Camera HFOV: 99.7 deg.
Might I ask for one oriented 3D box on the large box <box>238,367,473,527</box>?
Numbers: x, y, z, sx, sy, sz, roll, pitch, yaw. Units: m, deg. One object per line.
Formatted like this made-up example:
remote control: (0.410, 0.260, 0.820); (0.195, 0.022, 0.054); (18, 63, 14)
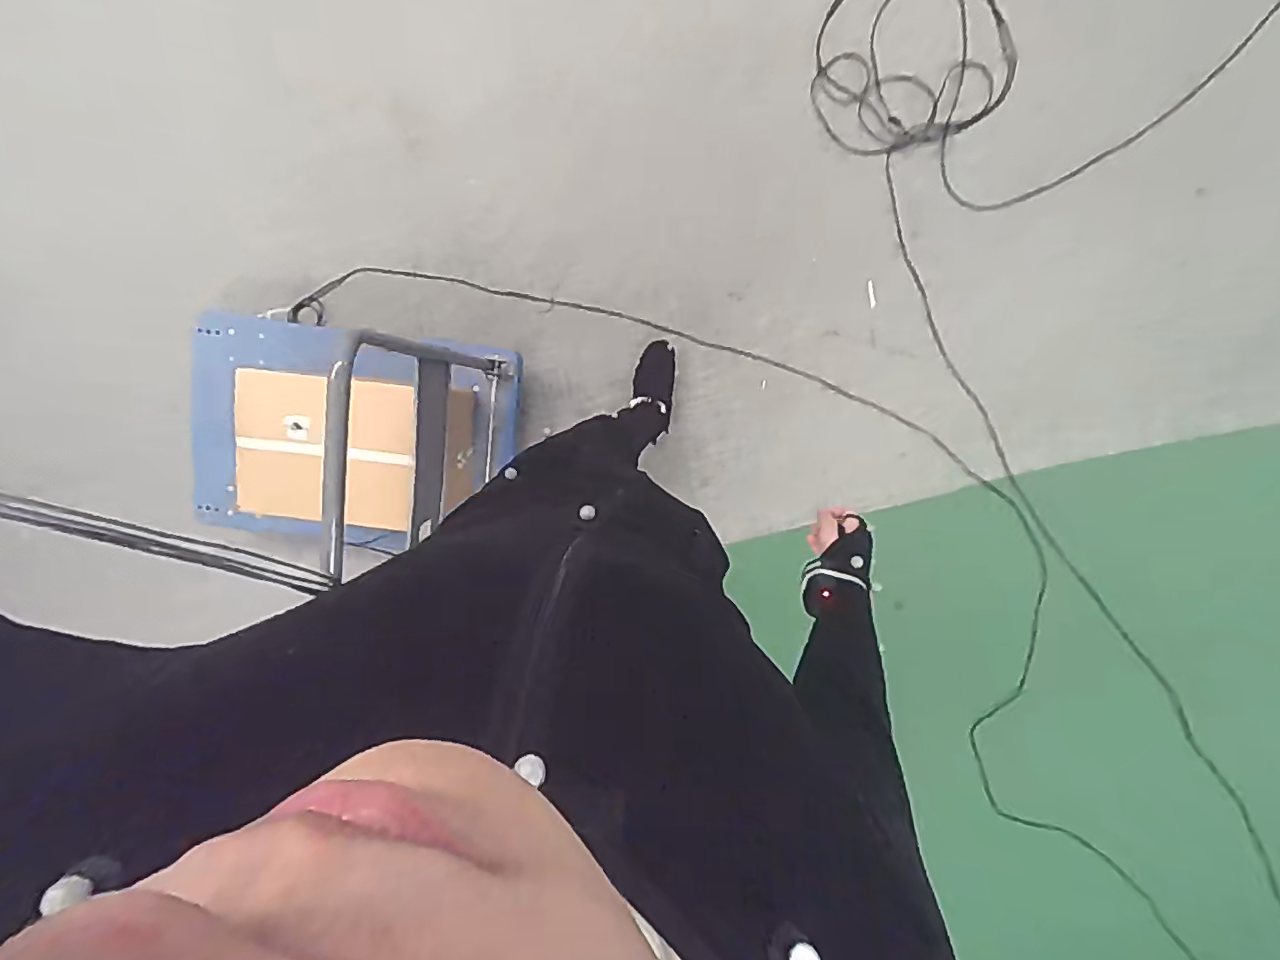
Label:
large box: (-0.647, -0.092, 1.292); (0.408, 0.320, 0.320); (7, 99, 2)
